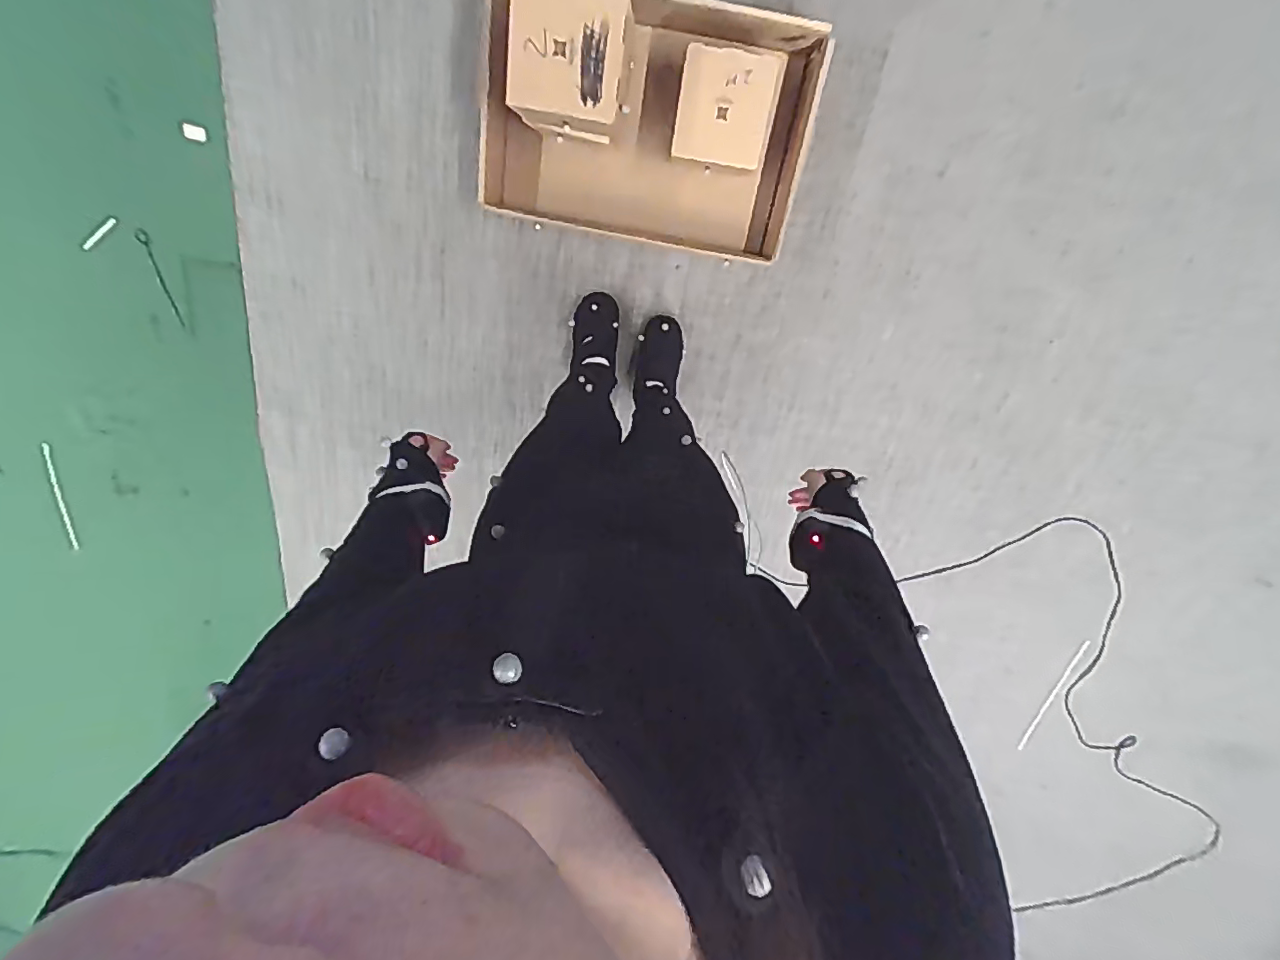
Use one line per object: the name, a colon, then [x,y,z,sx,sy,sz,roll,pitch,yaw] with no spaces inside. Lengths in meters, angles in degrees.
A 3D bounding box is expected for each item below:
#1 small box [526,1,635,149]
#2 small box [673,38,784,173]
small box: [-0.108,-0.757,1.033,0.168,0.176,0.179,13,115,-4]
small box: [0.161,-0.706,1.040,0.168,0.176,0.179,10,116,-2]
